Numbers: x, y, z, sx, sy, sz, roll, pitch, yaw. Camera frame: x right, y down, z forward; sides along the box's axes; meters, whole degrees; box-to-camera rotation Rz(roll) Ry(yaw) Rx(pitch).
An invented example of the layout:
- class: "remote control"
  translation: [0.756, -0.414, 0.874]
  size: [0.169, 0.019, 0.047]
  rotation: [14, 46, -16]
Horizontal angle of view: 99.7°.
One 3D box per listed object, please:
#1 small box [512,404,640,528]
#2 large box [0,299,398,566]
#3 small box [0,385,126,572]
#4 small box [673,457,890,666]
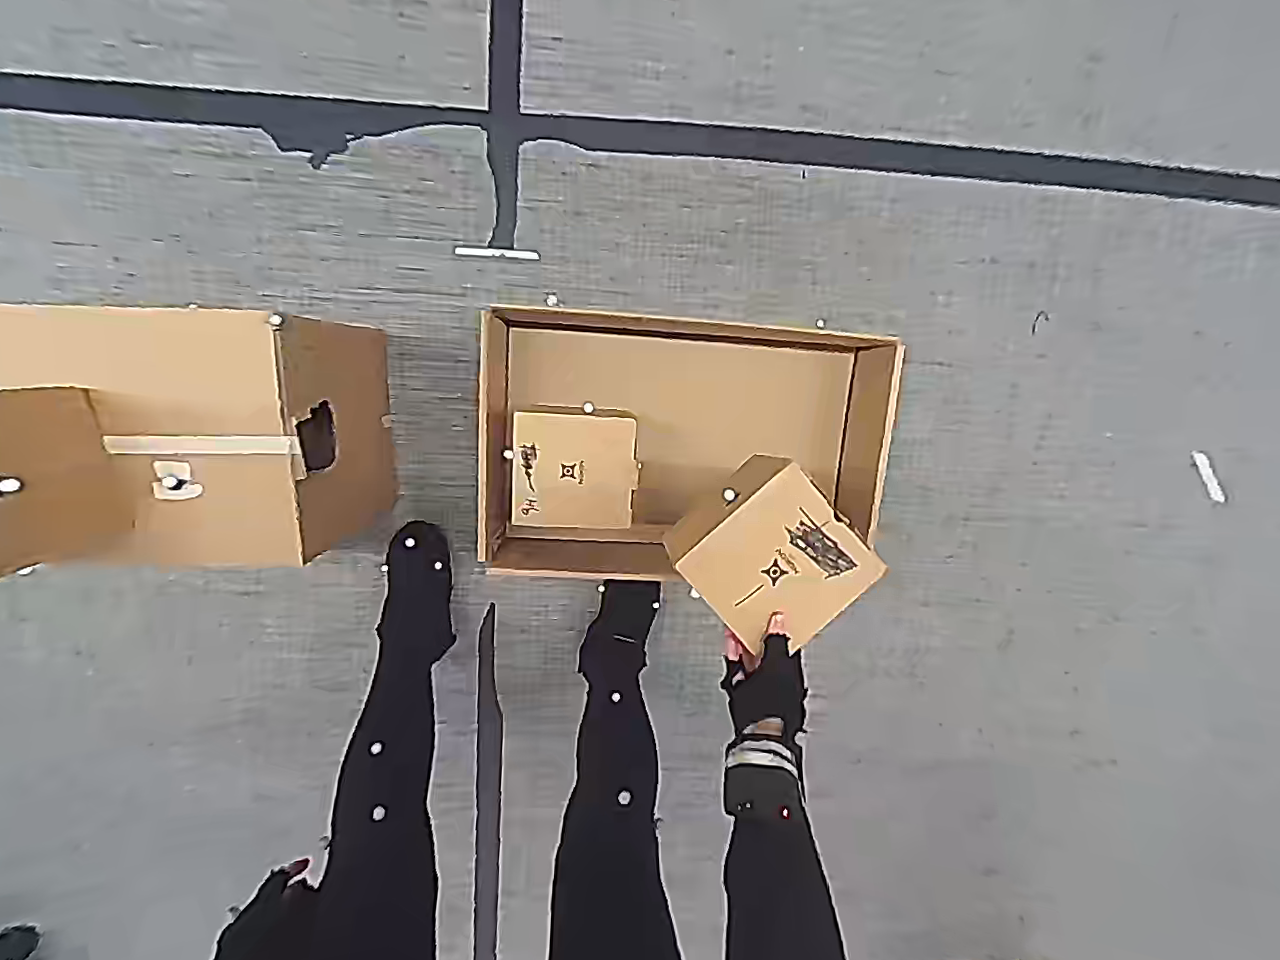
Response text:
- class: "small box"
  translation: [-0.100, -0.028, 0.844]
  size: [0.179, 0.176, 0.168]
  rotation: [3, 100, -6]
- class: "large box"
  translation: [-0.621, -0.080, 0.784]
  size: [0.408, 0.320, 0.320]
  rotation: [-1, 103, -4]
- class: "small box"
  translation: [-0.690, 0.003, 0.548]
  size: [0.168, 0.176, 0.179]
  rotation: [-9, 102, -3]
- class: "small box"
  translation: [0.156, 0.083, 0.667]
  size: [0.179, 0.176, 0.168]
  rotation: [-42, 94, 2]
